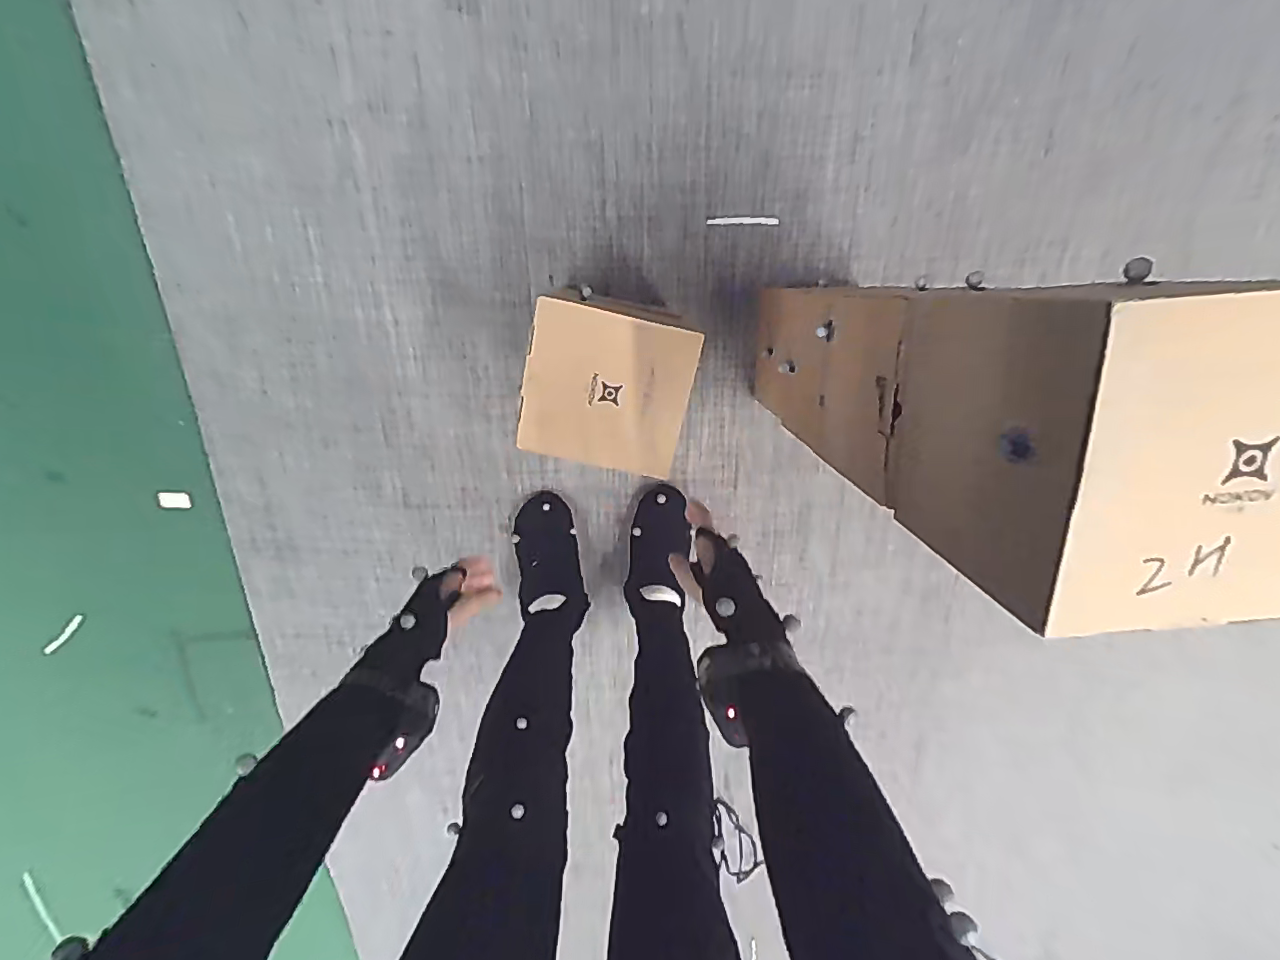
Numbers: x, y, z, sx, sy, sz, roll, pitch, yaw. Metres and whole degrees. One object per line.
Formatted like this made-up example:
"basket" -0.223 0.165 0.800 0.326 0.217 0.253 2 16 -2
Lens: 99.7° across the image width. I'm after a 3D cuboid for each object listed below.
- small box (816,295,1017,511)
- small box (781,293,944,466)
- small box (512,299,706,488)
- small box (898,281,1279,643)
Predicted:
"small box" 0.273 -0.079 0.491 0.179 0.176 0.168 -3 109 -2
"small box" 0.275 -0.127 0.648 0.168 0.176 0.179 -3 110 -2
"small box" -0.038 -0.110 0.643 0.179 0.176 0.168 13 109 -6
"small box" 0.283 -0.026 0.335 0.168 0.176 0.179 -4 108 0
